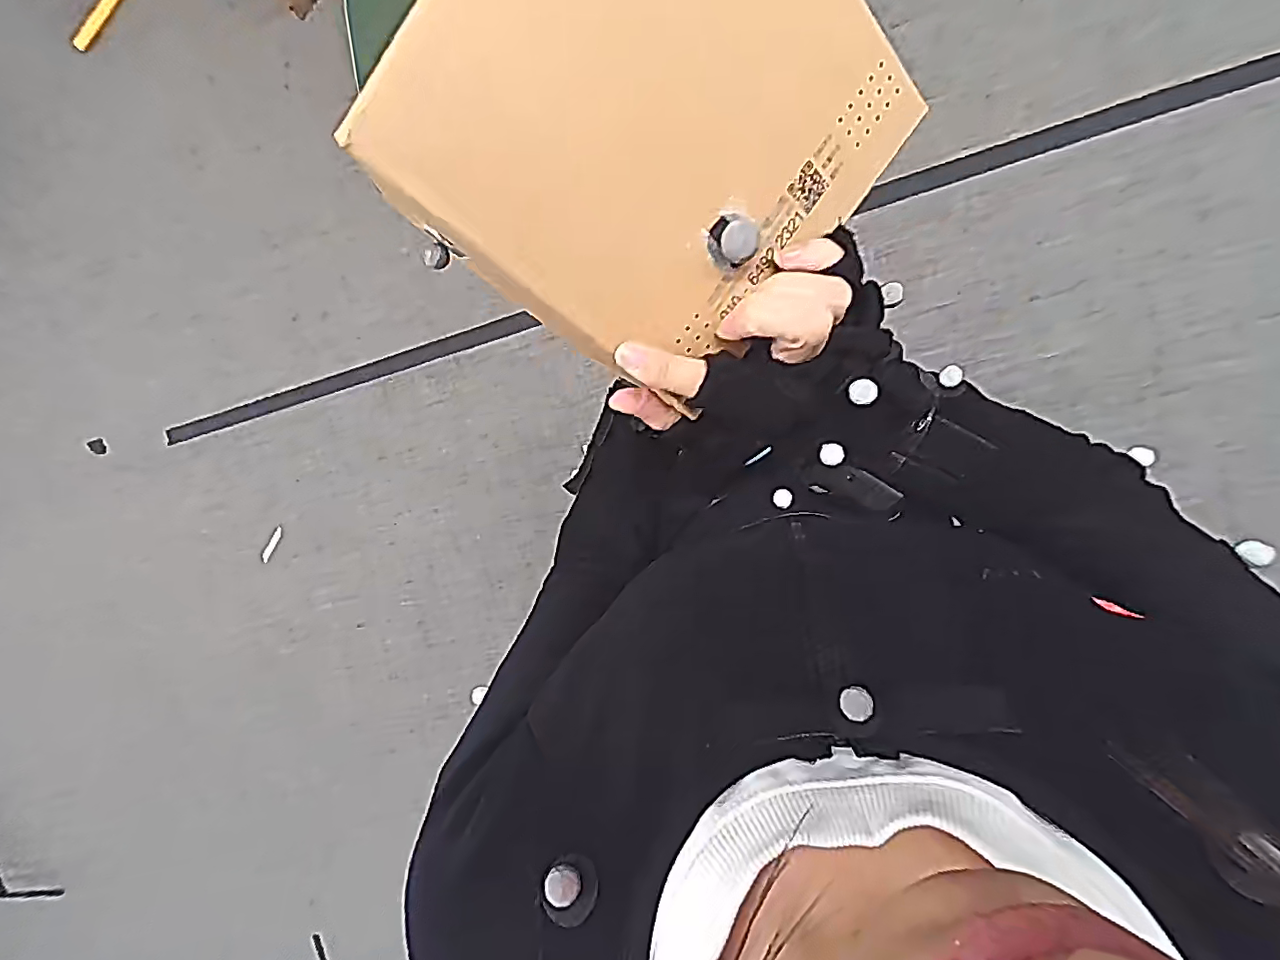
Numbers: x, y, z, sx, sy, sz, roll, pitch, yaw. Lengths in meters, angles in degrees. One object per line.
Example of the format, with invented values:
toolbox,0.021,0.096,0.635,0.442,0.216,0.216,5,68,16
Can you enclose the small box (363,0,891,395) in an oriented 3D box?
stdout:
small box,-0.014,-0.167,0.292,0.176,0.179,0.168,33,97,-27
